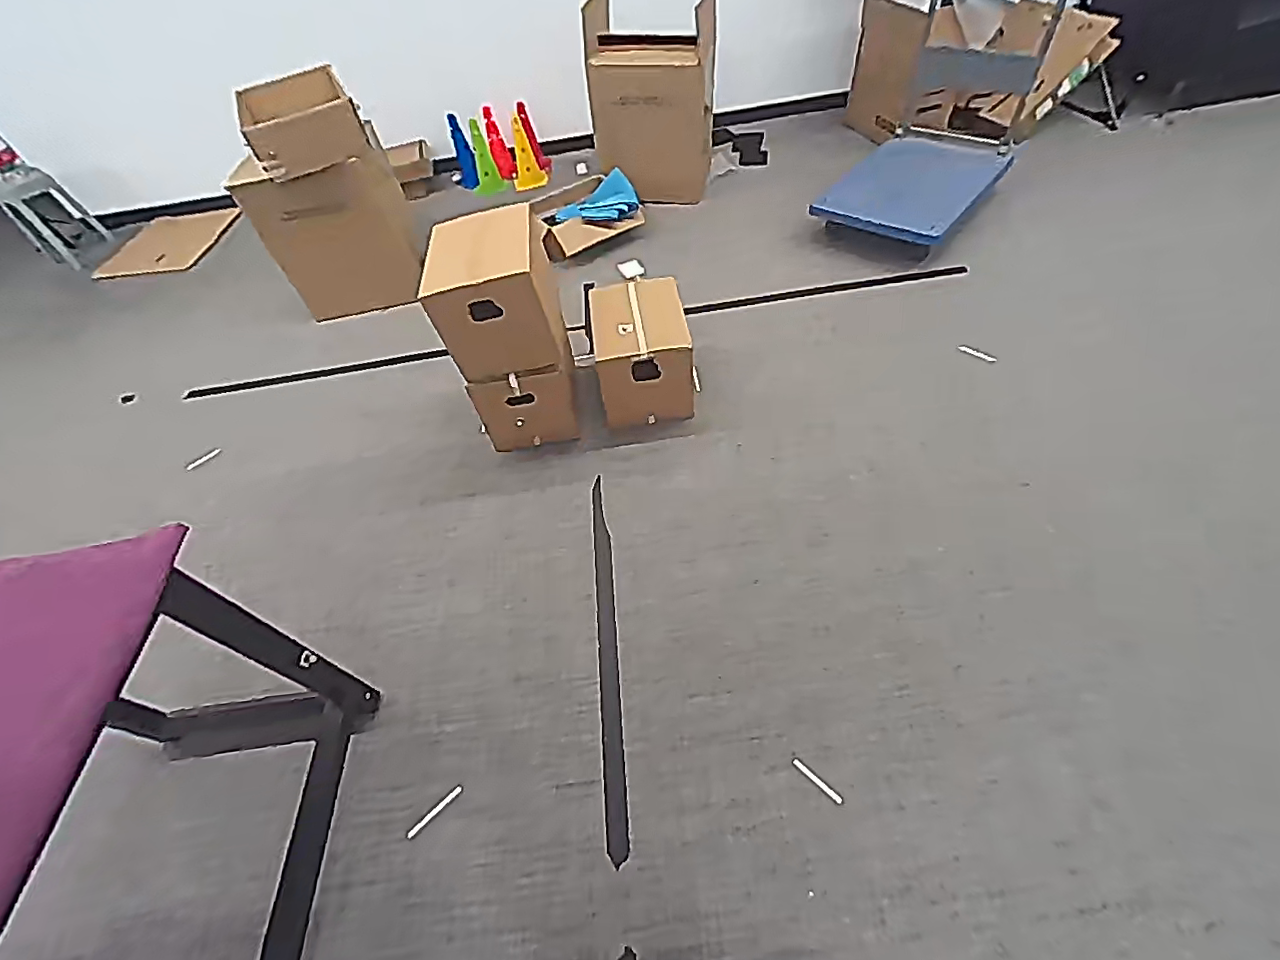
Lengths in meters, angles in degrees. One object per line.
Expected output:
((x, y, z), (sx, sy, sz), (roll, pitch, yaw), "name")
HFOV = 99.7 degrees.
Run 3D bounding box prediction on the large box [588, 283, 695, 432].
((0.008, -0.436, 1.921), (0.320, 0.320, 0.408), (-10, 52, 1), "large box")
